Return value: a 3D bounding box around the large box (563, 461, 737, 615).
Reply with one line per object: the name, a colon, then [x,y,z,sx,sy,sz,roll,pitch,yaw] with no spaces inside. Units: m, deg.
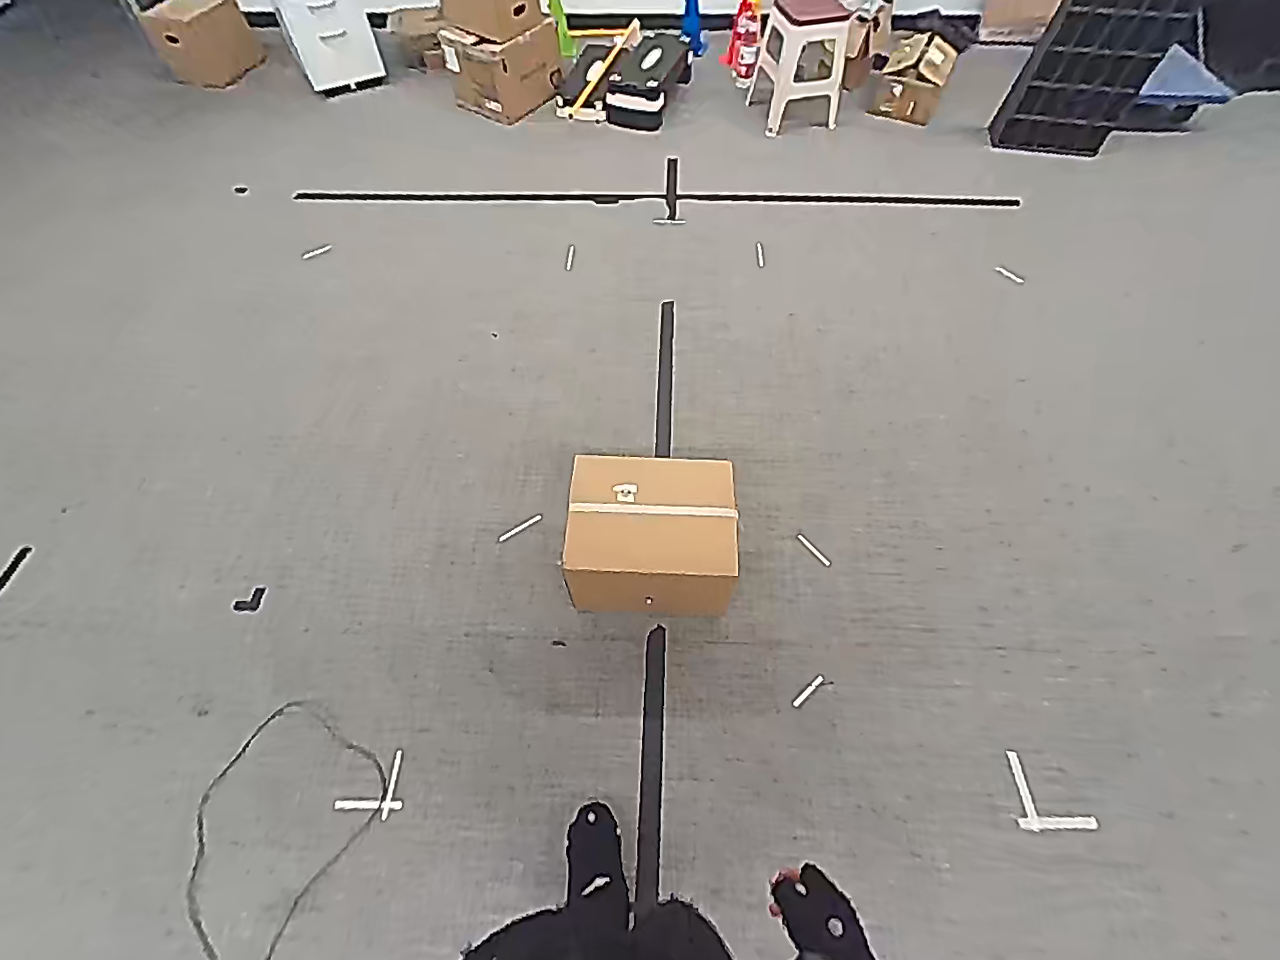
large box: [0.031,0.161,1.433,0.408,0.320,0.320,2,58,2]
